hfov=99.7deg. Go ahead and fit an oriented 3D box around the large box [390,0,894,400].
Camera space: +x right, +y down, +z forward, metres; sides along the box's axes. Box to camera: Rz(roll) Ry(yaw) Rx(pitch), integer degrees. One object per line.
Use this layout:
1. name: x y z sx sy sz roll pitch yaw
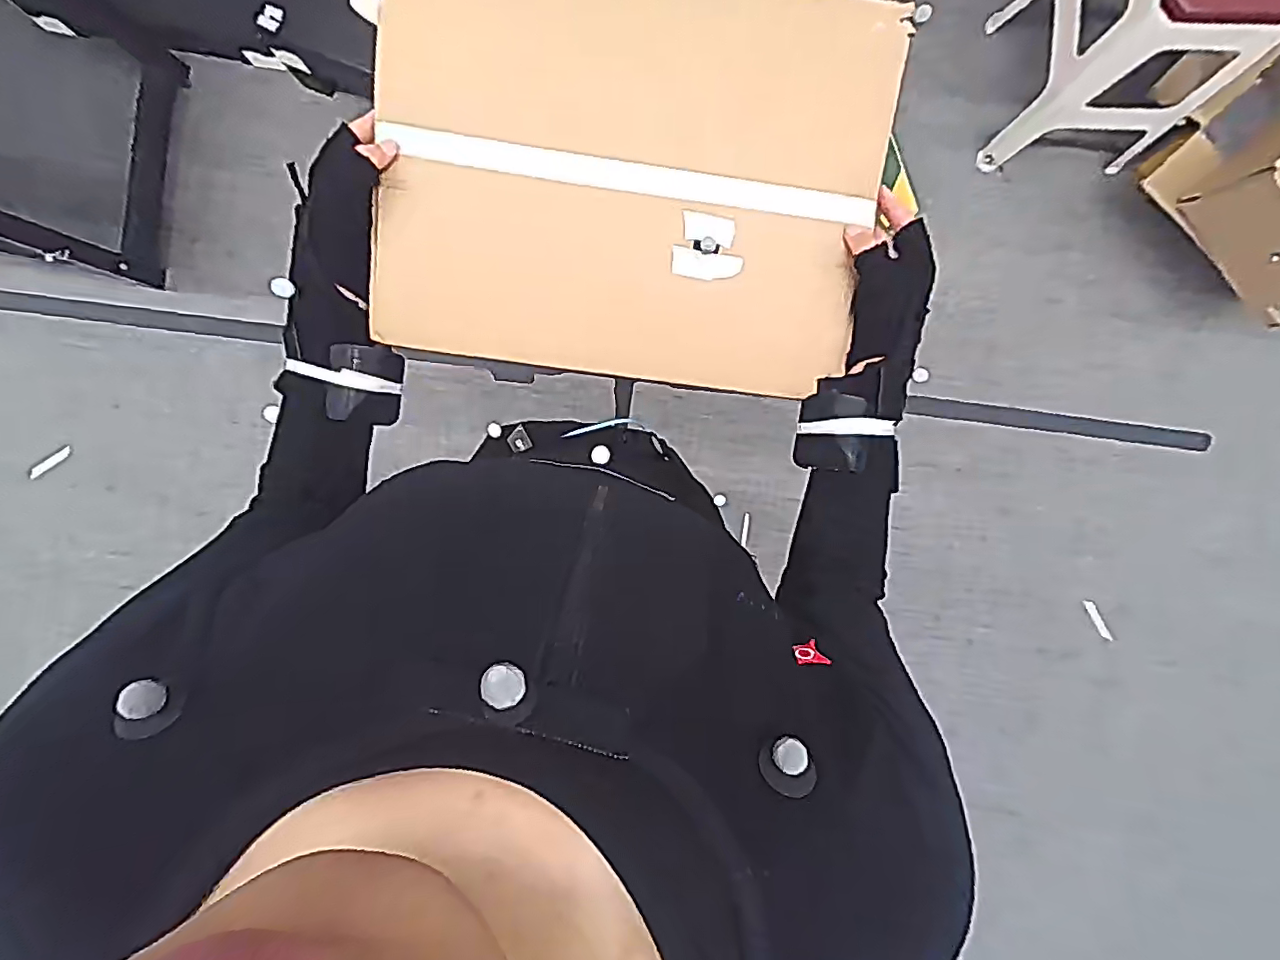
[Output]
1. large box: -0.015 -0.269 0.599 0.408 0.320 0.320 6 101 -5
